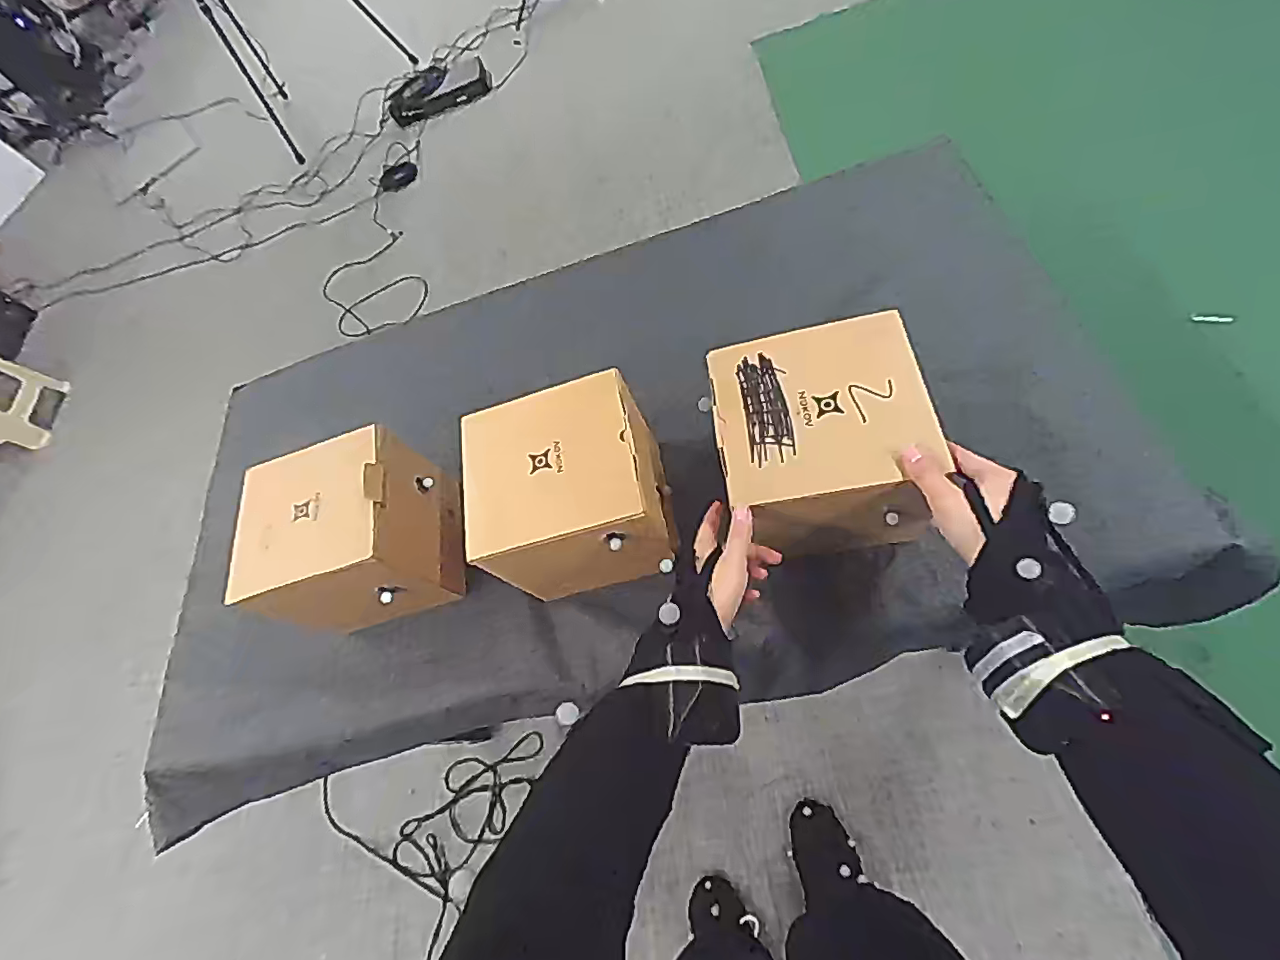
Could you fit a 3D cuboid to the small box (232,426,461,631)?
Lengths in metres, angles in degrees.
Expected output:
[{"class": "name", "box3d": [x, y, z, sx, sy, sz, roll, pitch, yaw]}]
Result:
[{"class": "small box", "box3d": [-0.330, 0.068, 0.647, 0.179, 0.176, 0.168, -19, 60, 9]}]

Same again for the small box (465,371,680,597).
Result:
[{"class": "small box", "box3d": [-0.069, 0.016, 0.592, 0.179, 0.176, 0.168, -16, 61, 8]}]
